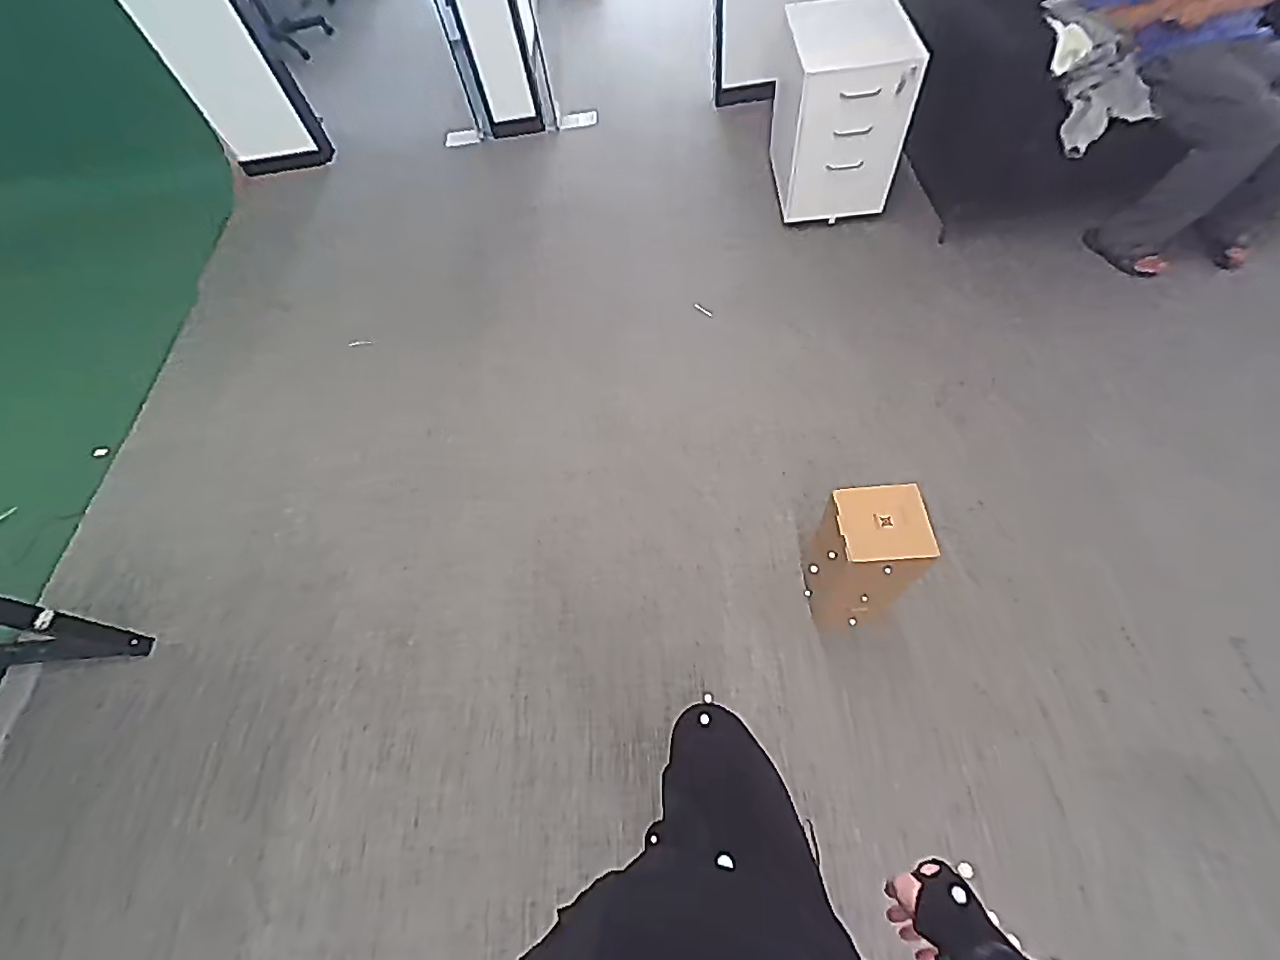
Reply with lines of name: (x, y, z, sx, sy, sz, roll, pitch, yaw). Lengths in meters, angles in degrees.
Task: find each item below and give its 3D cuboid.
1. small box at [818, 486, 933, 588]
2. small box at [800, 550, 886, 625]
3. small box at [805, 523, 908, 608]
small box: (0.495, 0.129, 1.175, 0.179, 0.176, 0.168, -4, 60, 3)
small box: (0.539, 0.287, 1.457, 0.168, 0.176, 0.179, -4, 60, 3)
small box: (0.516, 0.206, 1.315, 0.179, 0.176, 0.168, -6, 59, 4)
